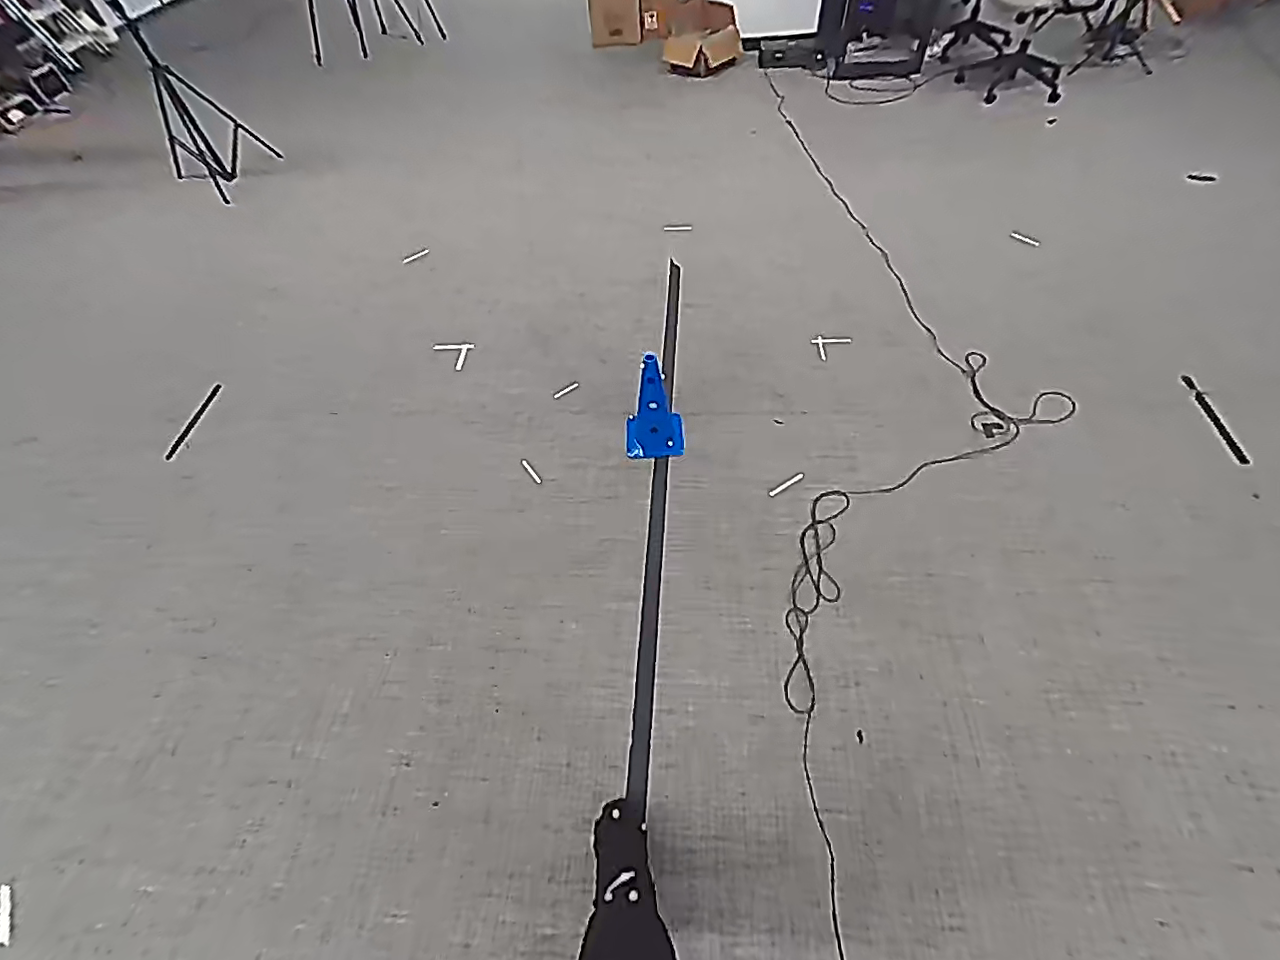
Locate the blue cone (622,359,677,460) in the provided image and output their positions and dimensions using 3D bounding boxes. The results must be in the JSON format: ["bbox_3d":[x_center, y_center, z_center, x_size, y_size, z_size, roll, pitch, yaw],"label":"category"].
[{"bbox_3d":[0.021,-0.247,1.793,0.192,0.380,0.193,-2,52,4],"label":"blue cone"}]
